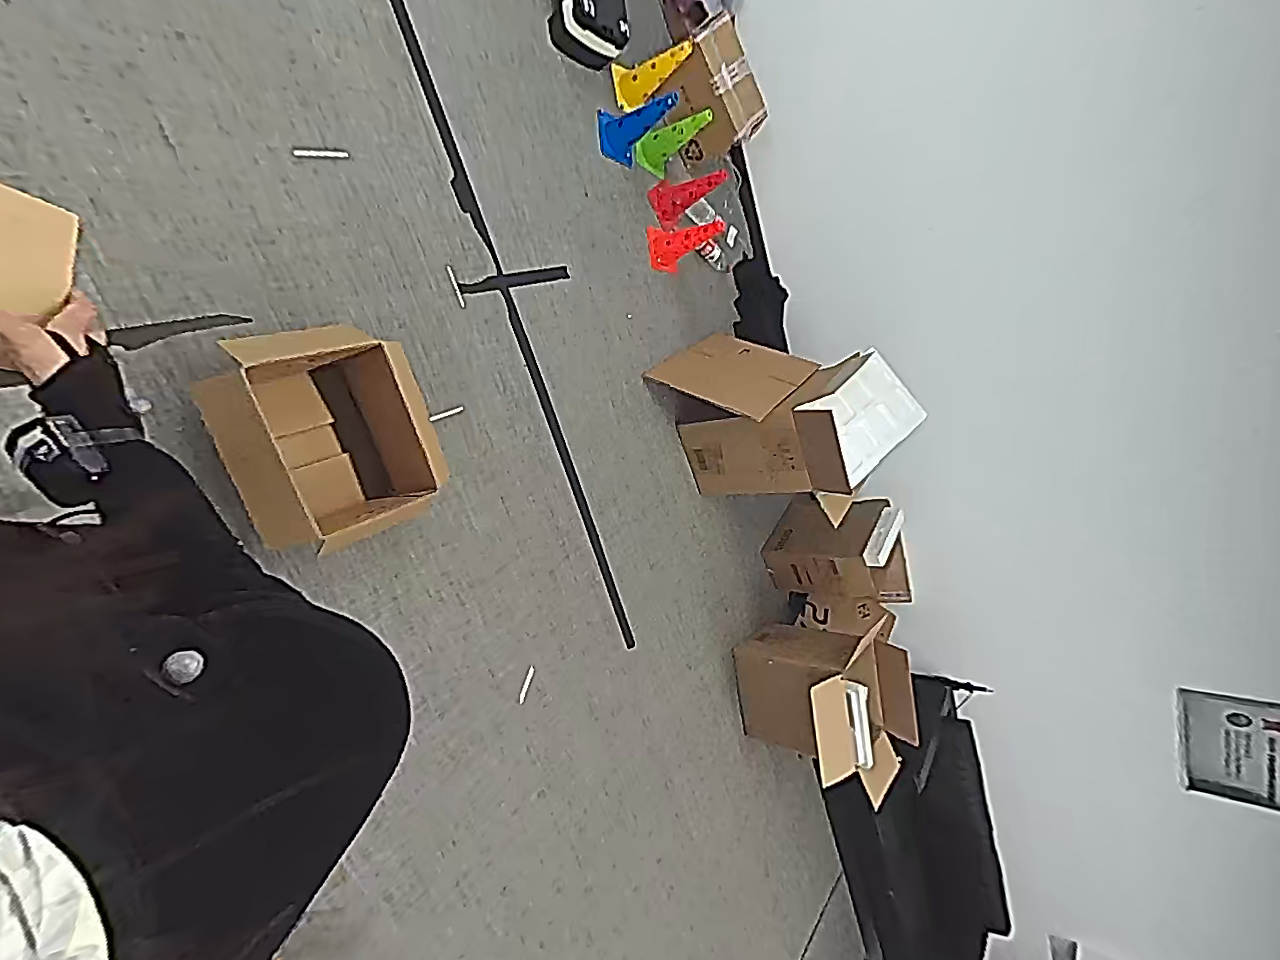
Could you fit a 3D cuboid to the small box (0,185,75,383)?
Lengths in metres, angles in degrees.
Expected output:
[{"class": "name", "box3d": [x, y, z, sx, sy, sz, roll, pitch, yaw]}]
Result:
[{"class": "small box", "box3d": [-0.654, -0.183, 0.466, 0.179, 0.176, 0.168, 12, 80, -65]}]
